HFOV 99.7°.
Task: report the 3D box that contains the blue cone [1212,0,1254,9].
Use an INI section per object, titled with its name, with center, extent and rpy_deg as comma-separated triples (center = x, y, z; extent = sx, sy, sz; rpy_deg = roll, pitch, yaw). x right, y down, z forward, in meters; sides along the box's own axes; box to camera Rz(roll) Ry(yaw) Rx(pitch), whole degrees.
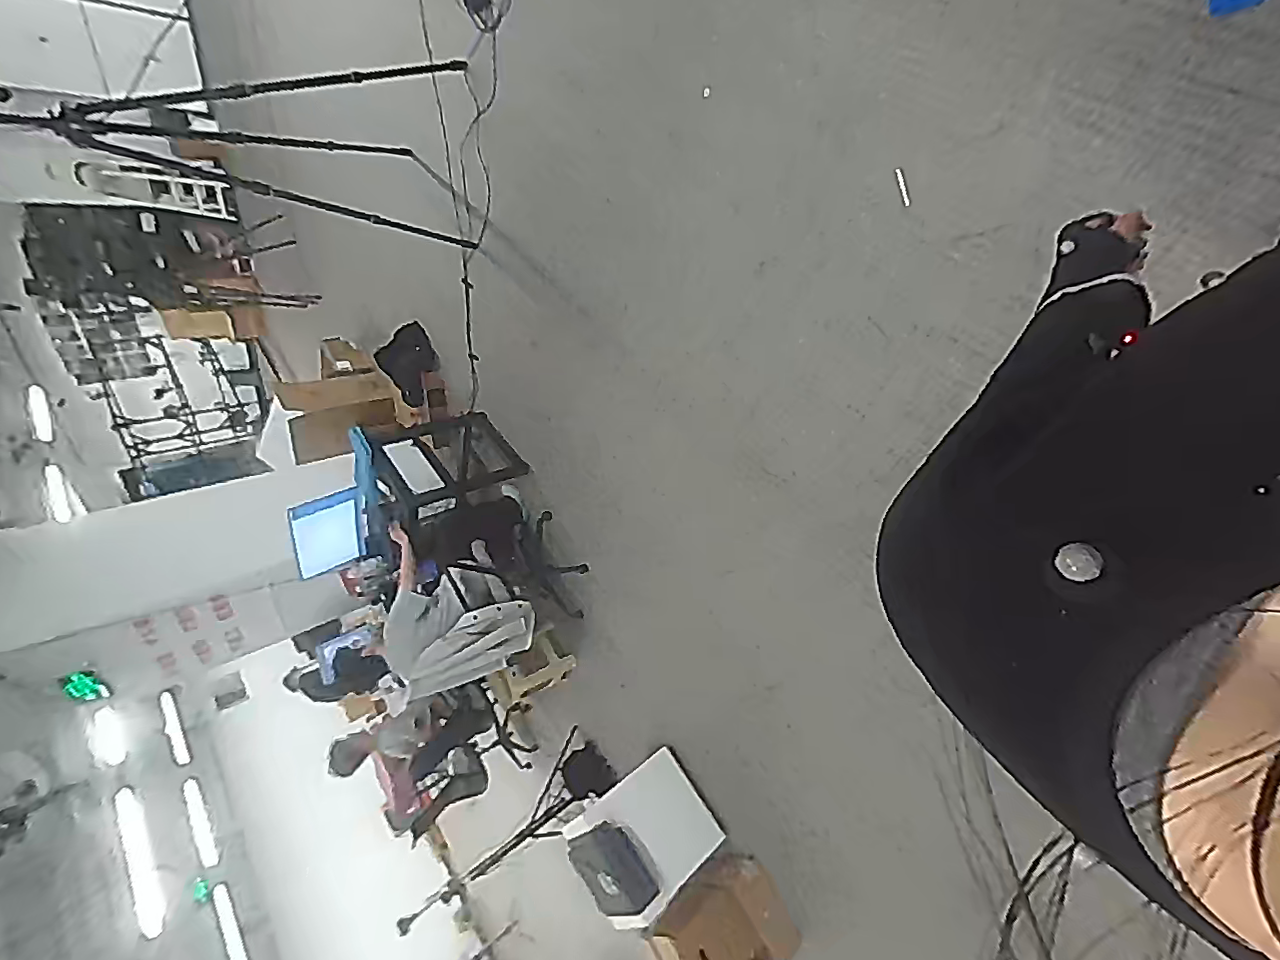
[blue cone]
center = 0.880, -0.821, 0.733
extent = 0.193, 0.380, 0.192
rpy_deg = -2, 107, 52
